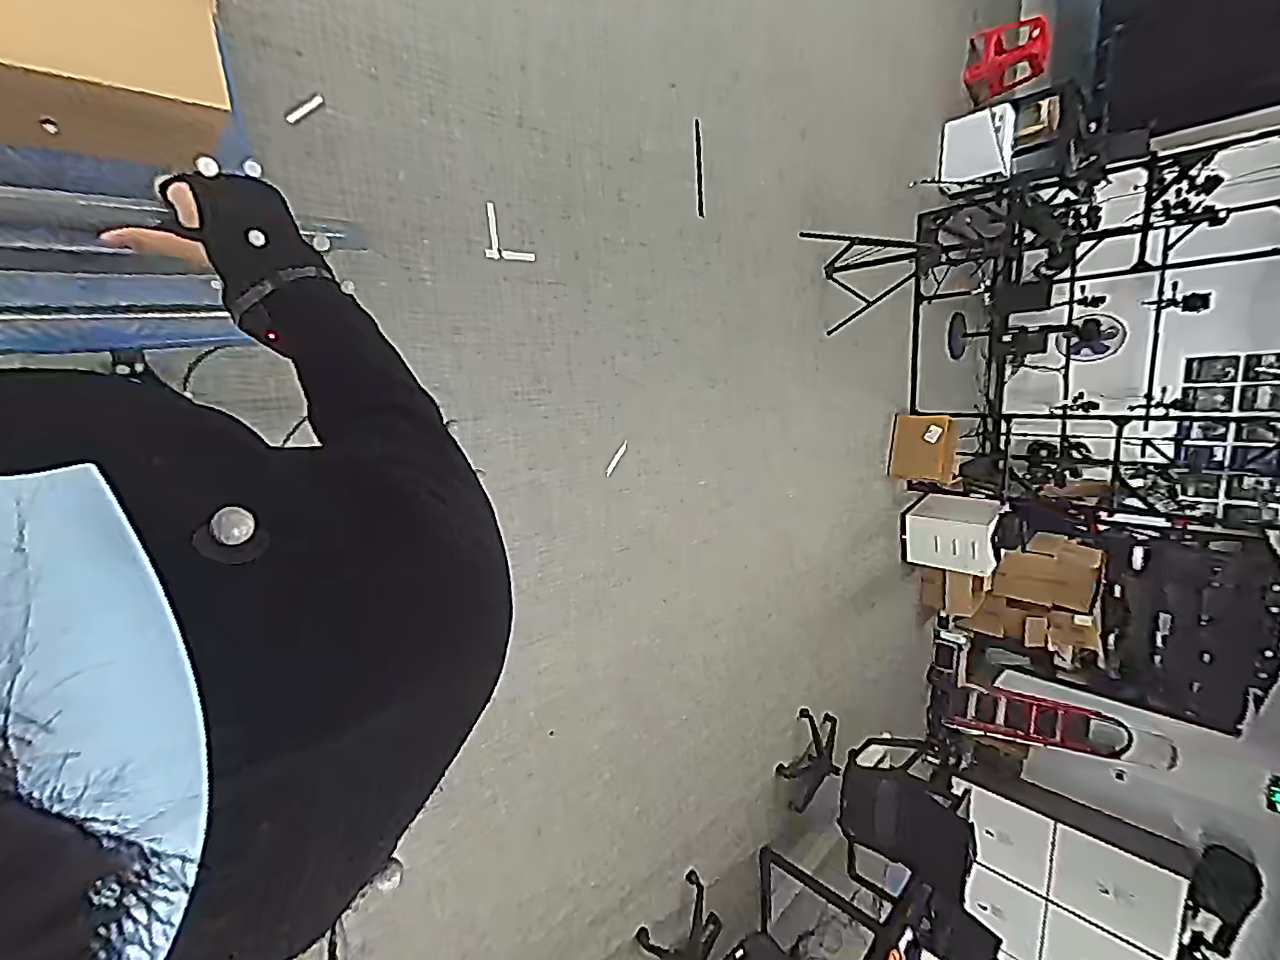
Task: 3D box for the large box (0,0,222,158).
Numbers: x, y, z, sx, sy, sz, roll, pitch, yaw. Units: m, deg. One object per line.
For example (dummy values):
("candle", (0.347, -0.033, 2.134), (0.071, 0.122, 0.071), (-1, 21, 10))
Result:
("large box", (-0.881, -0.691, 0.752), (0.408, 0.320, 0.320), (-16, 106, -41))
